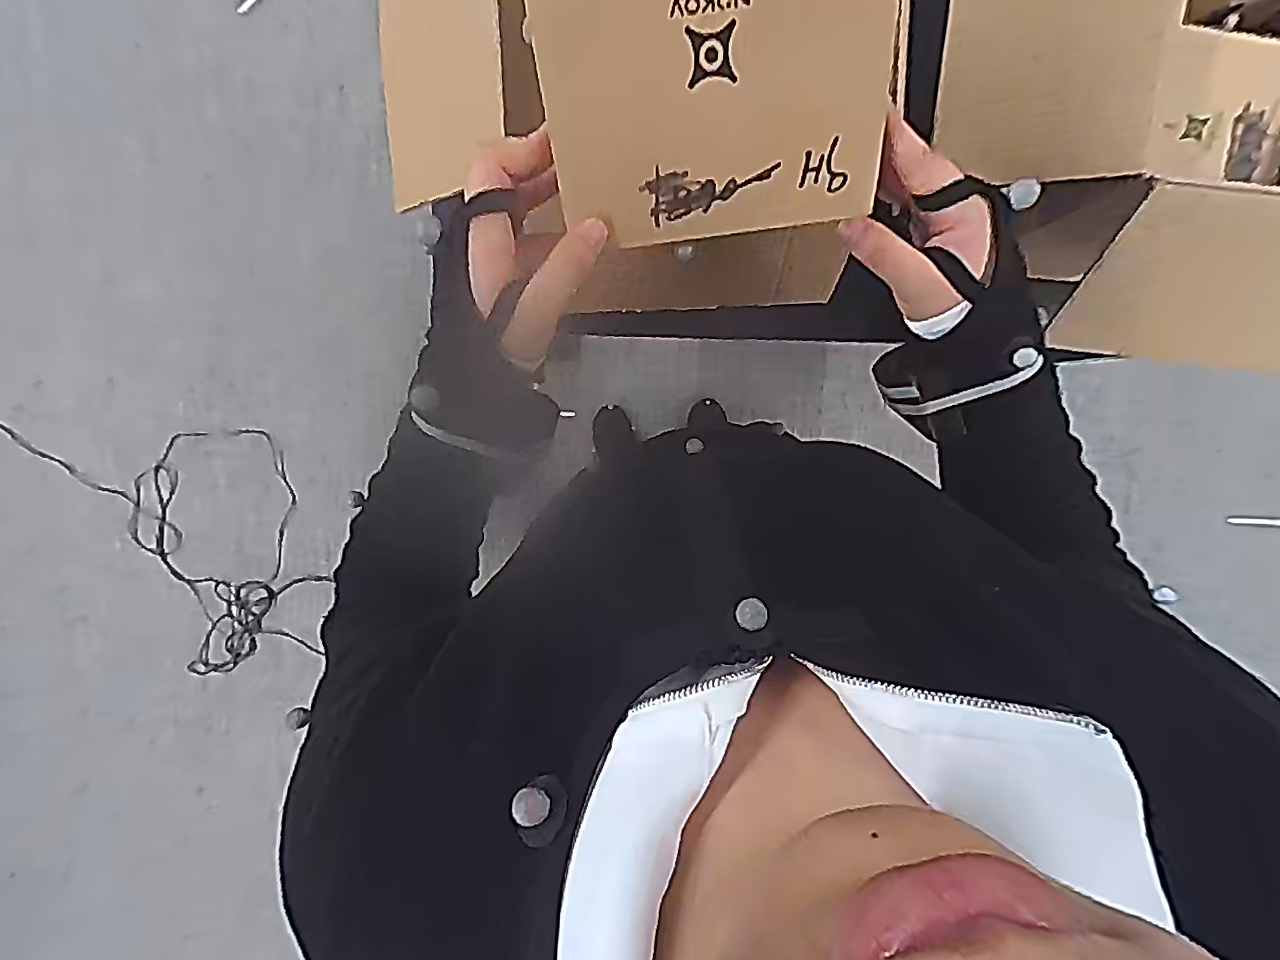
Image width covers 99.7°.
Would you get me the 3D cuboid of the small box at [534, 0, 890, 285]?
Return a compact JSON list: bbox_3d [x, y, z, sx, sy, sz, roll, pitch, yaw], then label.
[{"bbox_3d":[0.034,-0.235,0.331,0.168,0.176,0.179,-6,123,3],"label":"small box"}]
